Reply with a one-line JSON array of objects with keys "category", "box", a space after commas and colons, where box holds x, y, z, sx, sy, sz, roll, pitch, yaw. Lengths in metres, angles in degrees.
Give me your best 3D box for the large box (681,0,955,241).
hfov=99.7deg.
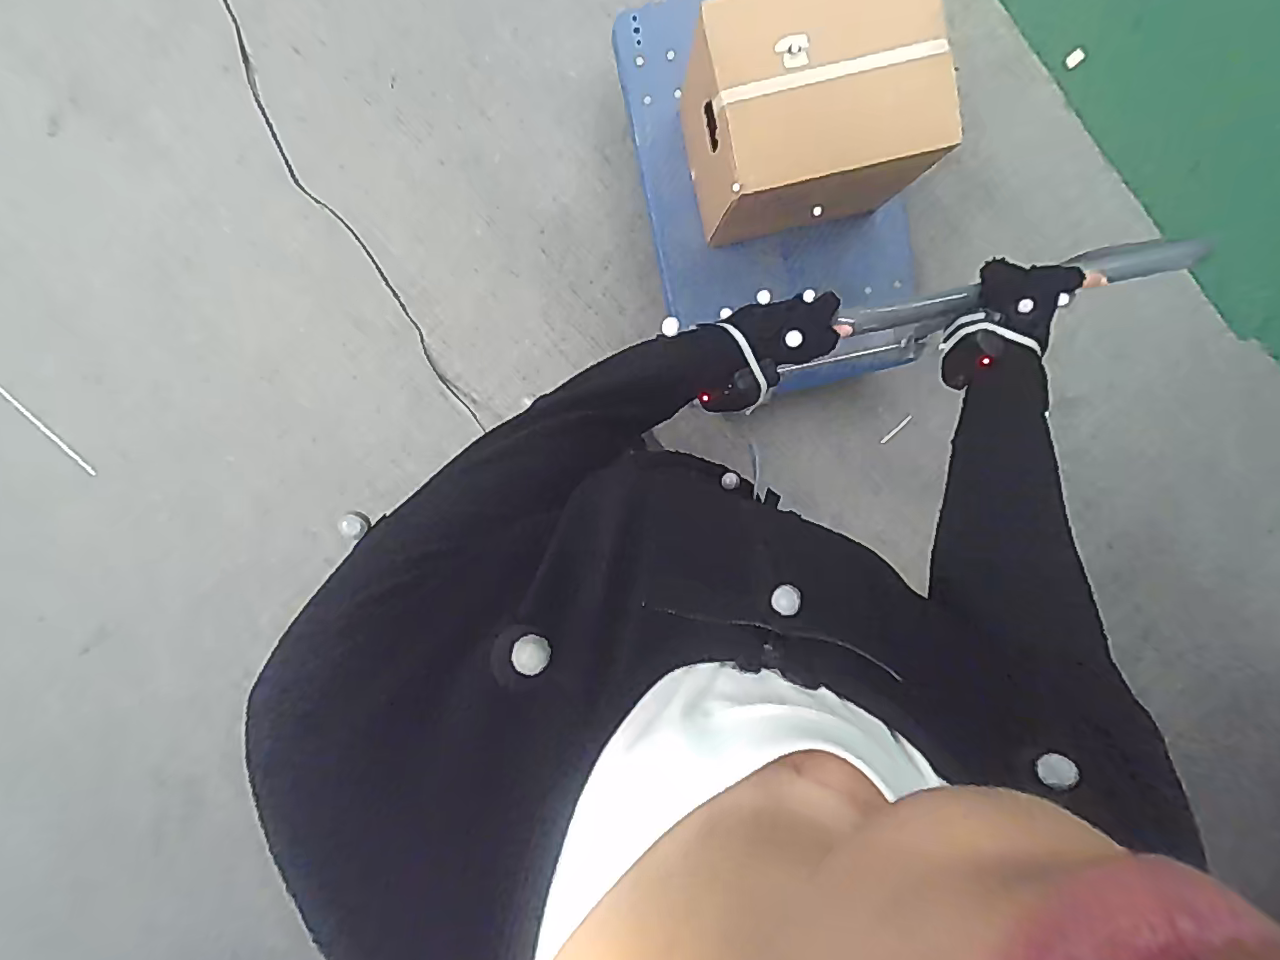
[{"category": "large box", "box": [0.322, -0.716, 1.070, 0.408, 0.320, 0.320, -14, 98, 0]}]
